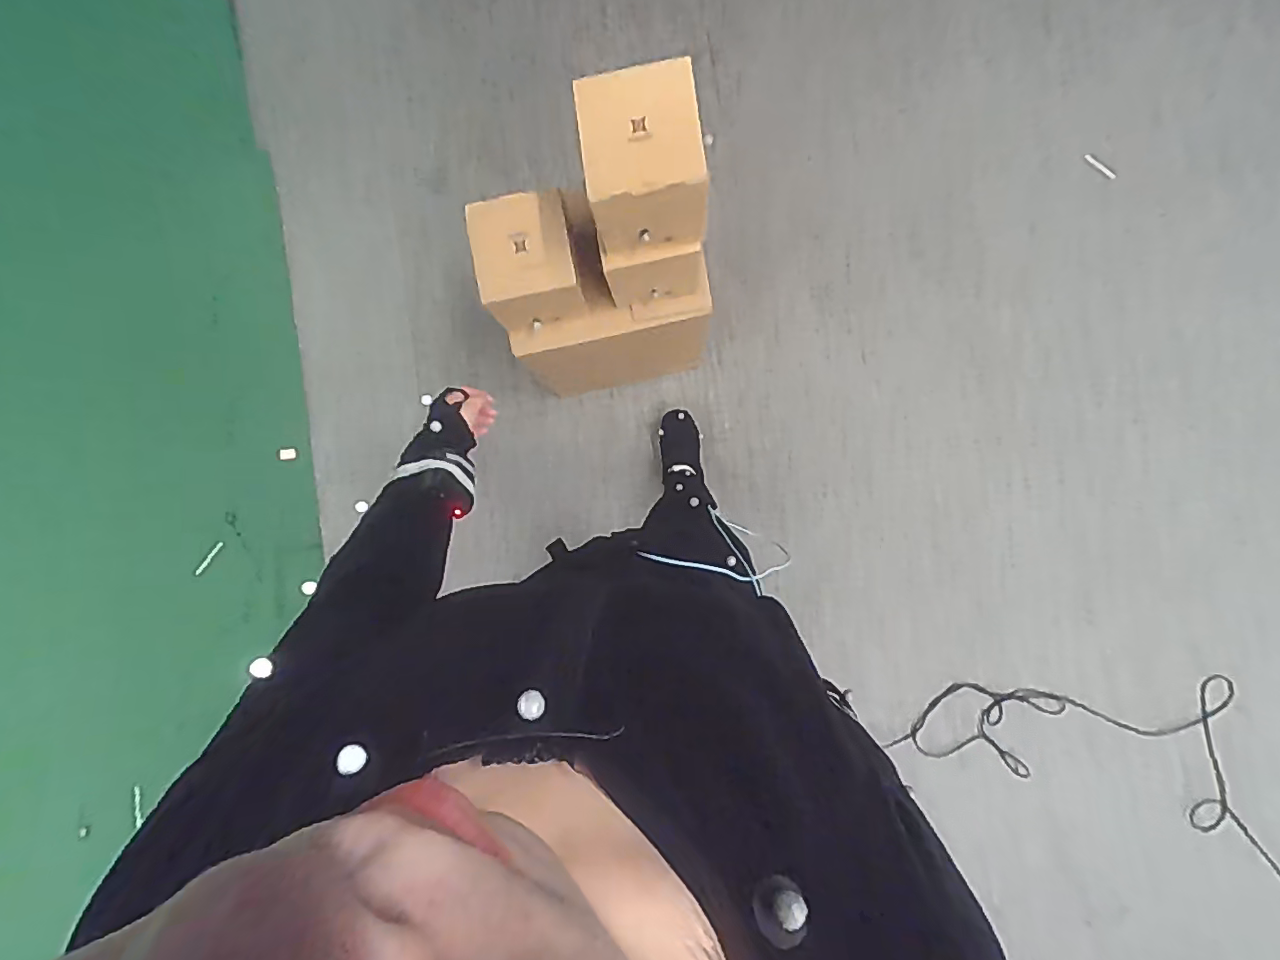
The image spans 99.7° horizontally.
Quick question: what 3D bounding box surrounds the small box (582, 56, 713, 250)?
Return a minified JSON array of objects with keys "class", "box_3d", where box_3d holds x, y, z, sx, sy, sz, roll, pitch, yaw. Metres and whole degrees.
[{"class":"small box","box_3d":[0.014,-0.478,0.814,0.168,0.176,0.179,-7,87,5]}]
